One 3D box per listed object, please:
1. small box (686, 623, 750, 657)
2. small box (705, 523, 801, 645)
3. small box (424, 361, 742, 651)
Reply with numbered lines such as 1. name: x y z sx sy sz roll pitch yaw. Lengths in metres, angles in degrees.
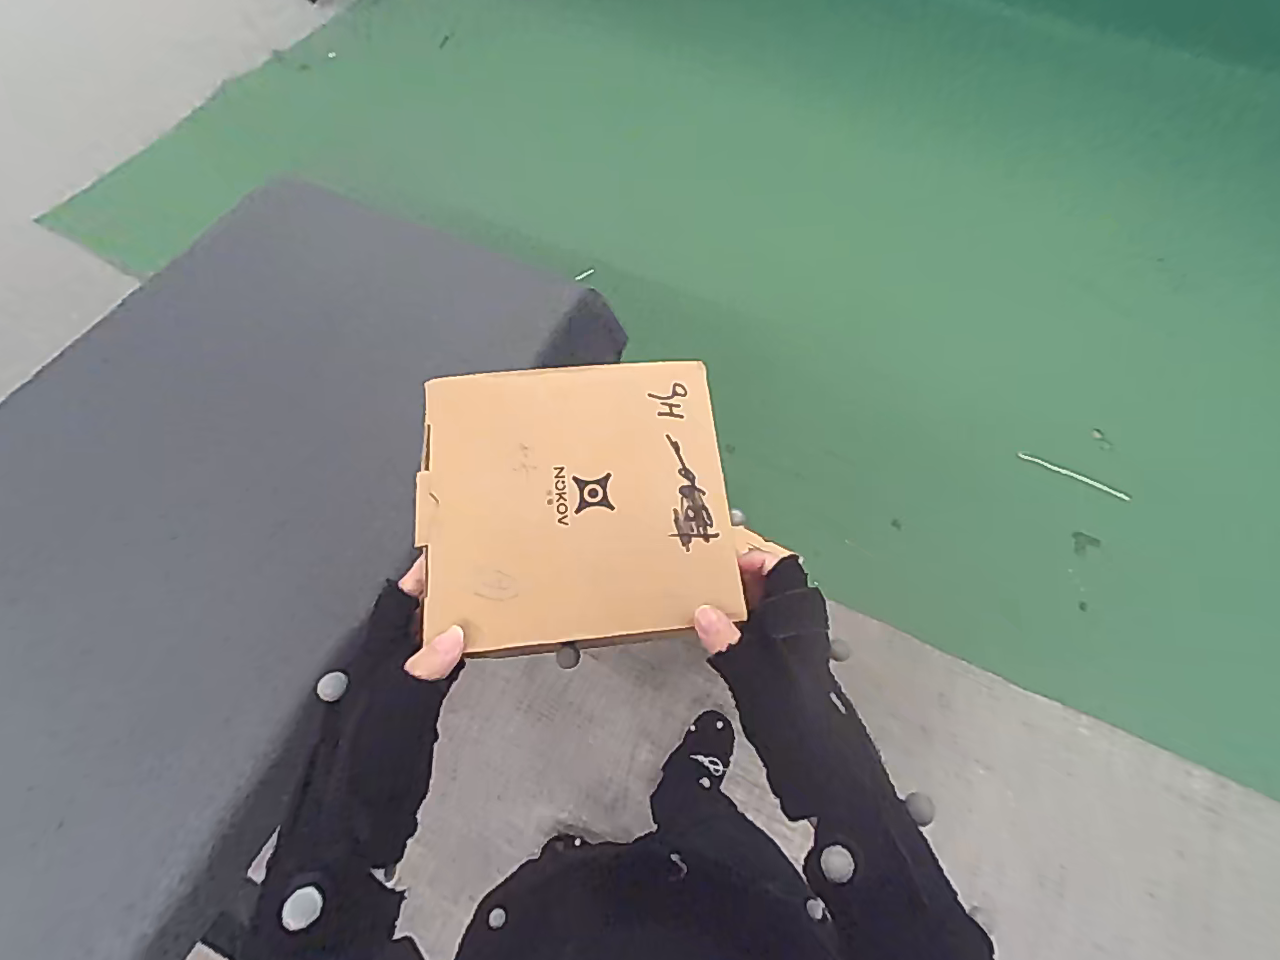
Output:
1. small box: 0.205 0.301 1.296 0.168 0.176 0.179 26 67 11
2. small box: 0.213 0.226 1.149 0.168 0.176 0.179 28 67 12
3. small box: -0.038 0.031 0.393 0.179 0.176 0.168 -3 71 -5
